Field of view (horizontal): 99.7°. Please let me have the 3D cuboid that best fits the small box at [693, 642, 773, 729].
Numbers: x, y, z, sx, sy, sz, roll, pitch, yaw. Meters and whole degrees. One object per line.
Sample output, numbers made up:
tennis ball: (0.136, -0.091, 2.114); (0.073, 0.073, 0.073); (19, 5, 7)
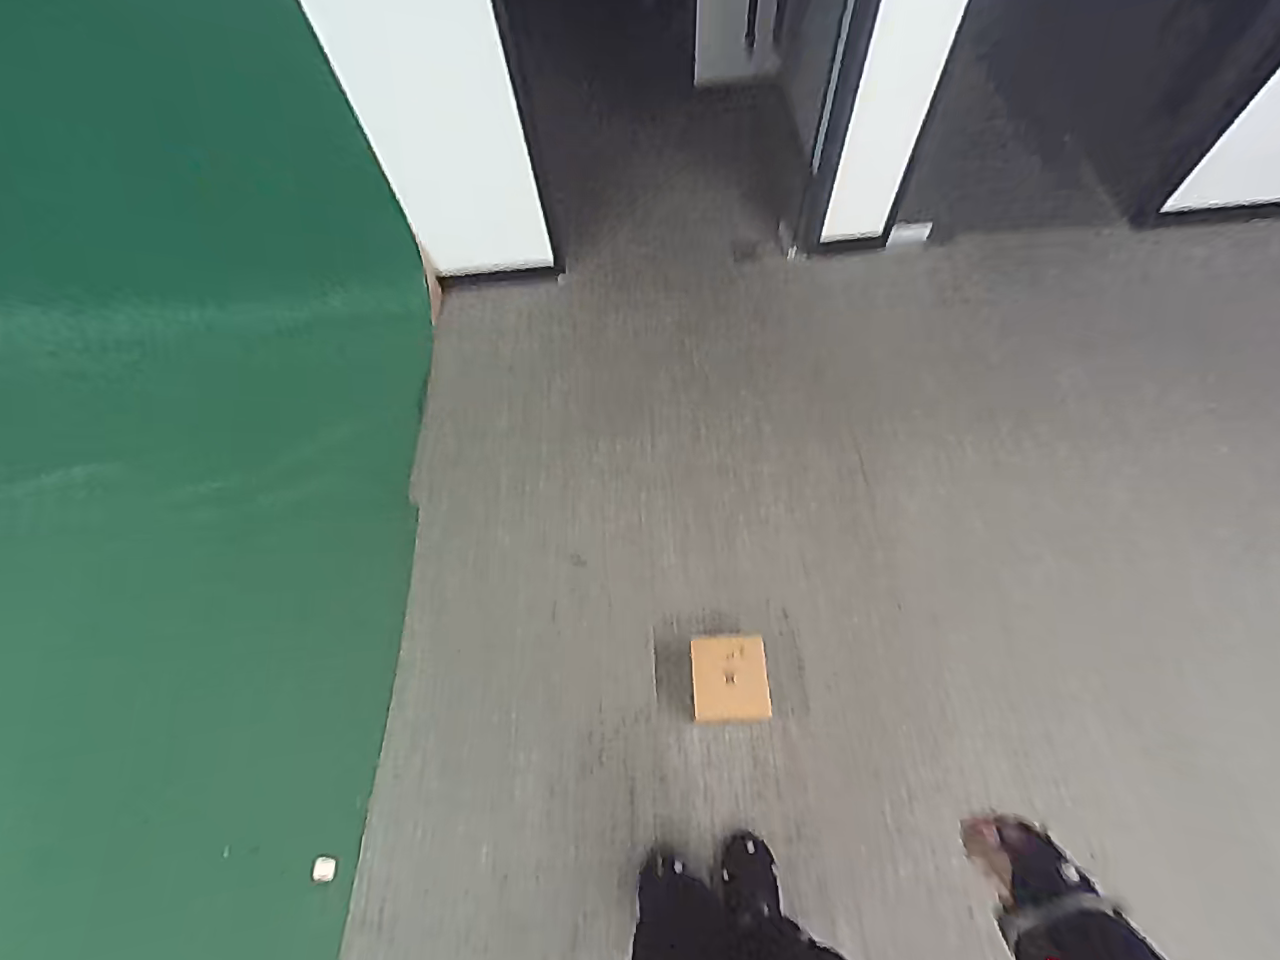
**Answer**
small box: (0.209, 0.482, 1.259); (0.168, 0.176, 0.179); (-2, 62, 3)
